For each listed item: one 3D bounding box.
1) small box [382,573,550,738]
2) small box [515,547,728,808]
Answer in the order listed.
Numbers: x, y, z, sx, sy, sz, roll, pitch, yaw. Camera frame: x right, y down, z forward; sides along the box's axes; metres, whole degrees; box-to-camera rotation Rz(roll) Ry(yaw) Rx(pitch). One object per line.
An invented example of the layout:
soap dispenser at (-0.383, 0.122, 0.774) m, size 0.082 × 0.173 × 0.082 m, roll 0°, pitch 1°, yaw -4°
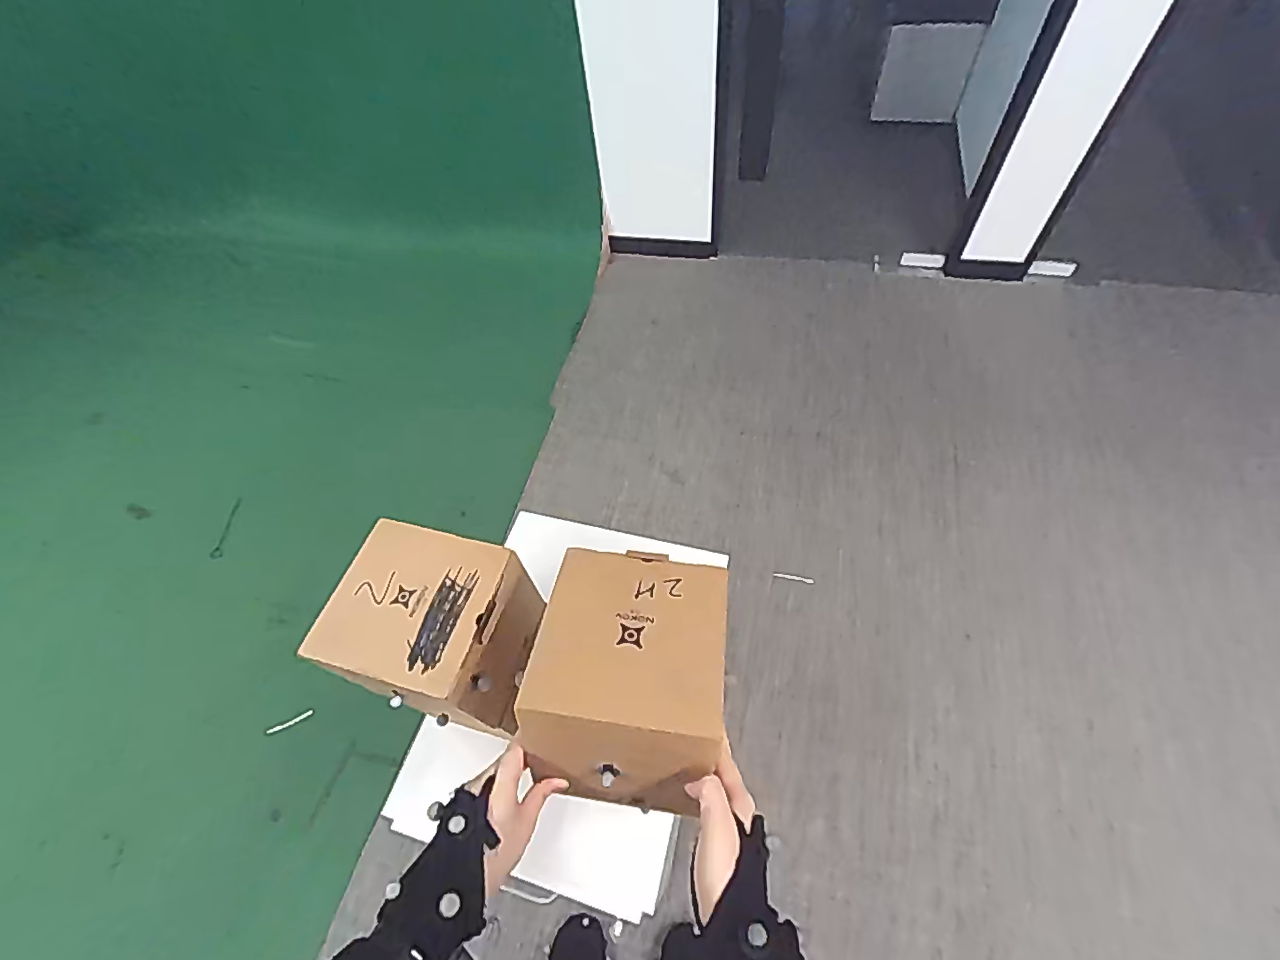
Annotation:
small box at (-0.221, 0.257, 0.779) m, size 0.179 × 0.176 × 0.168 m, roll 11°, pitch 59°, yaw 11°
small box at (-0.008, 0.195, 0.534) m, size 0.168 × 0.176 × 0.179 m, roll 7°, pitch 41°, yaw 6°
